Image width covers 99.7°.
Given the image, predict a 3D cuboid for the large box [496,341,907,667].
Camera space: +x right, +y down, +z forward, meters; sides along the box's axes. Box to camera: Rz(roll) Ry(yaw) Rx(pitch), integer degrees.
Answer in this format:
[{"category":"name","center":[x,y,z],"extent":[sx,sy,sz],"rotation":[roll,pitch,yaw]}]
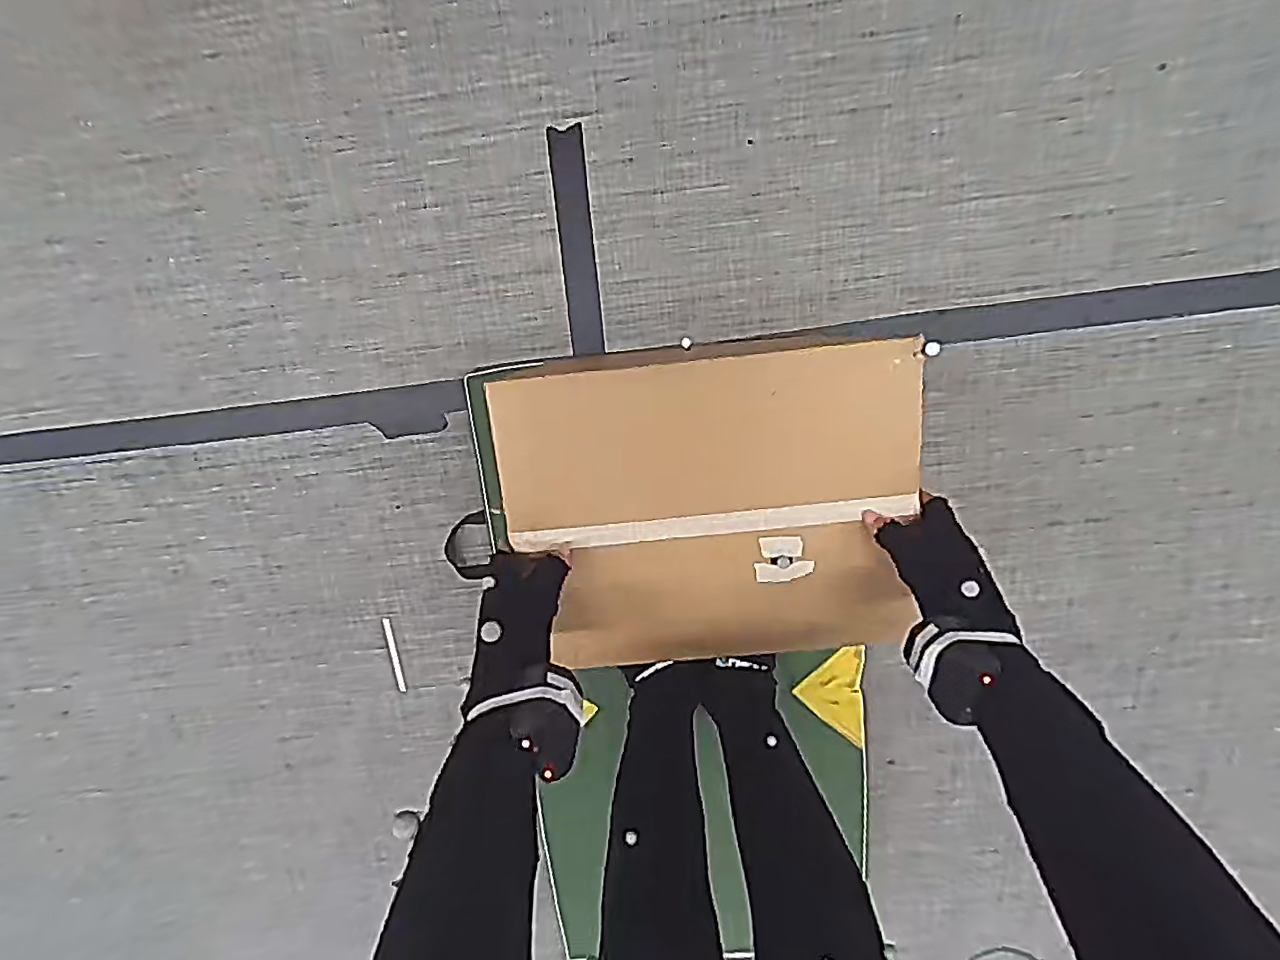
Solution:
[{"category":"large box","center":[0.072,0.002,0.699],"extent":[0.408,0.320,0.320],"rotation":[-6,106,2]}]
